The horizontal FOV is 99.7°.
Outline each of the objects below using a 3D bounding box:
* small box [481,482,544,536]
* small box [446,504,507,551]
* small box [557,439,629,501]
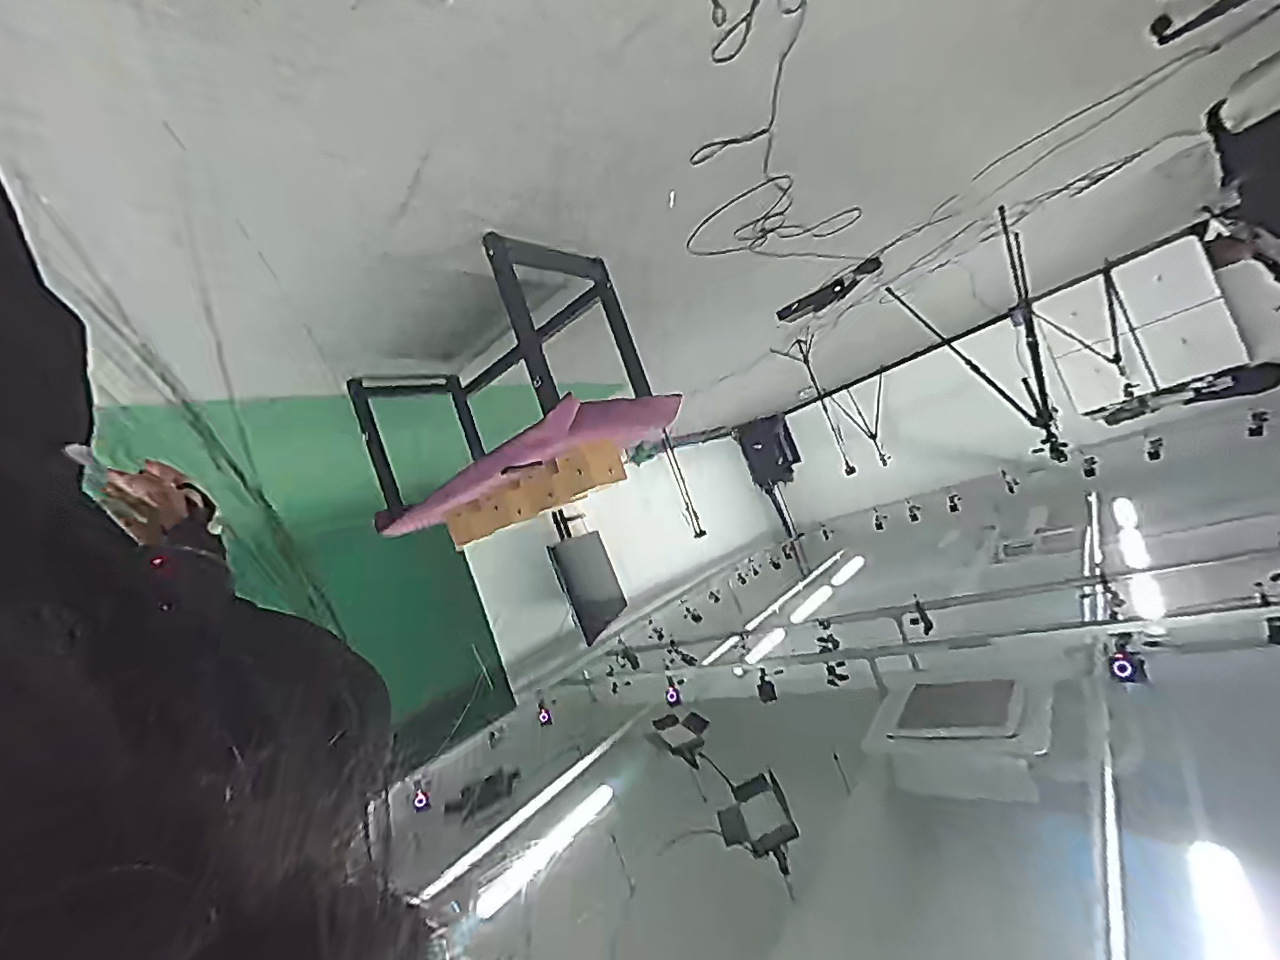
[{"bbox_3d":[-0.547,0.121,2.310,0.168,0.176,0.179,-23,175,34],"label":"small box"},{"bbox_3d":[-0.744,0.205,2.458,0.168,0.176,0.179,-24,174,32],"label":"small box"},{"bbox_3d":[-0.179,-0.041,2.012,0.168,0.176,0.179,-24,175,40],"label":"small box"}]
